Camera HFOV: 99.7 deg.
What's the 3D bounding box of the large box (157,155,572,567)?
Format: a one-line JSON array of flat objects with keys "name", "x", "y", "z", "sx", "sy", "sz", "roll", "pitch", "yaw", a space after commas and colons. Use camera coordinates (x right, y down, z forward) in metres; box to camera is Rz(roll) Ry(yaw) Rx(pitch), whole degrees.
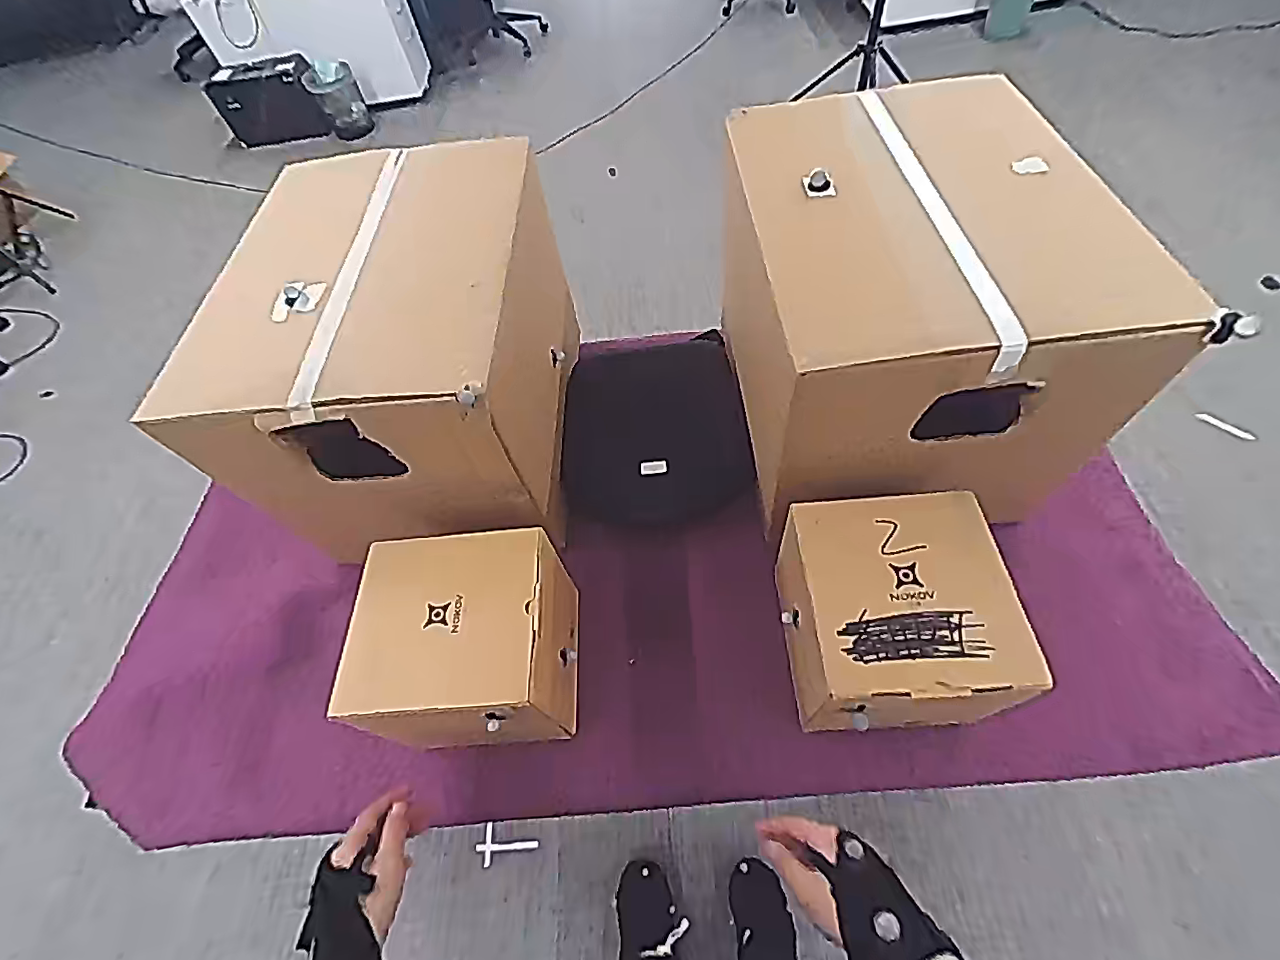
[{"name": "large box", "x": -0.268, "y": -0.137, "z": 0.691, "sx": 0.320, "sy": 0.320, "sz": 0.408, "roll": -5, "pitch": 59, "yaw": 5}]
